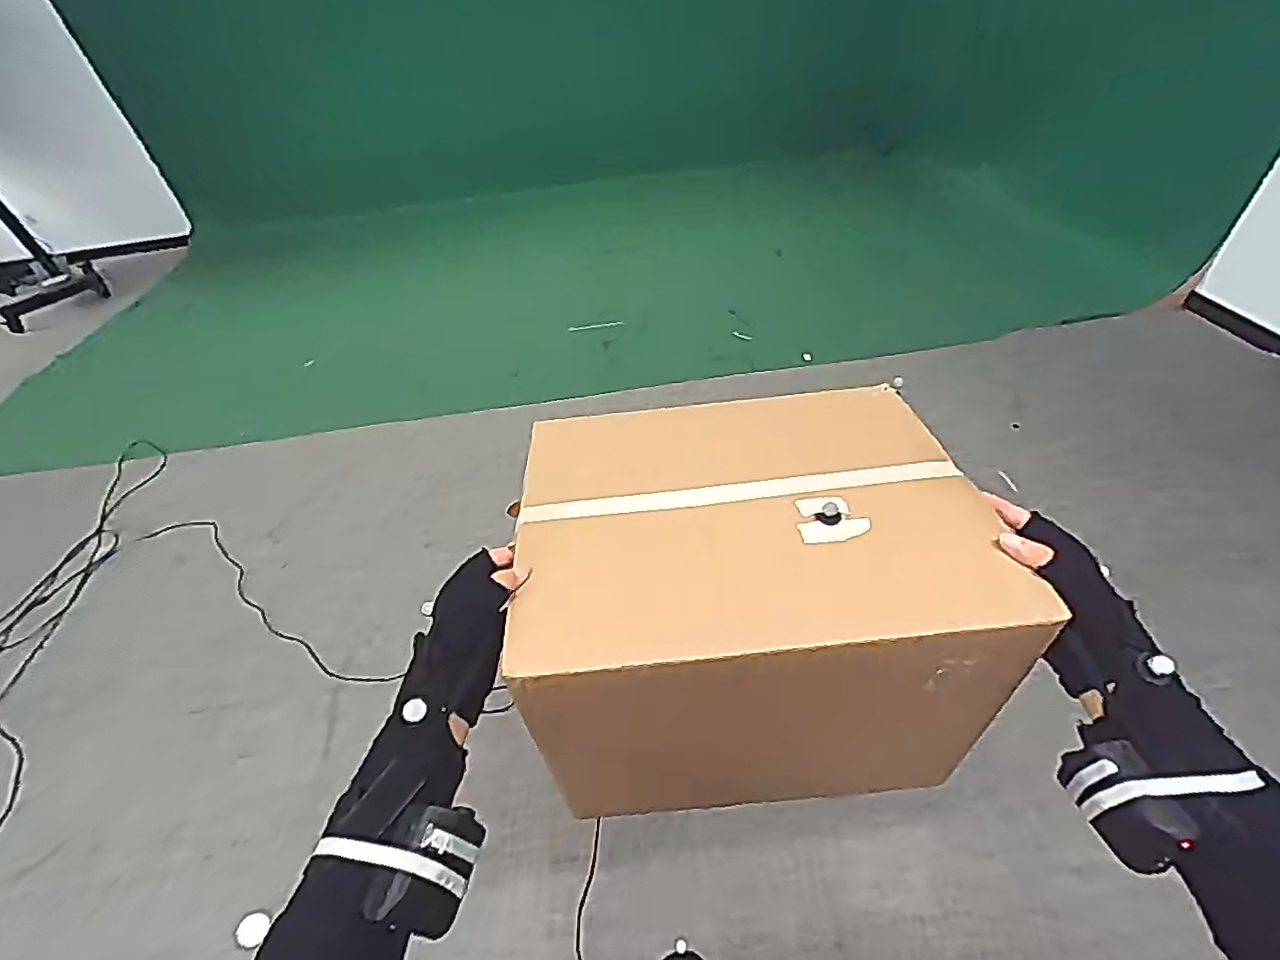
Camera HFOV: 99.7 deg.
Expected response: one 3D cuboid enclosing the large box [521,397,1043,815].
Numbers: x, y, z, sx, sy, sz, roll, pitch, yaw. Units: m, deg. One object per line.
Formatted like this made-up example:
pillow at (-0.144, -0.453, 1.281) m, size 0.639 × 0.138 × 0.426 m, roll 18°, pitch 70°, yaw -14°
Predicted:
large box at (0.104, 0.135, 0.607) m, size 0.408 × 0.320 × 0.320 m, roll -6°, pitch 42°, yaw -1°
